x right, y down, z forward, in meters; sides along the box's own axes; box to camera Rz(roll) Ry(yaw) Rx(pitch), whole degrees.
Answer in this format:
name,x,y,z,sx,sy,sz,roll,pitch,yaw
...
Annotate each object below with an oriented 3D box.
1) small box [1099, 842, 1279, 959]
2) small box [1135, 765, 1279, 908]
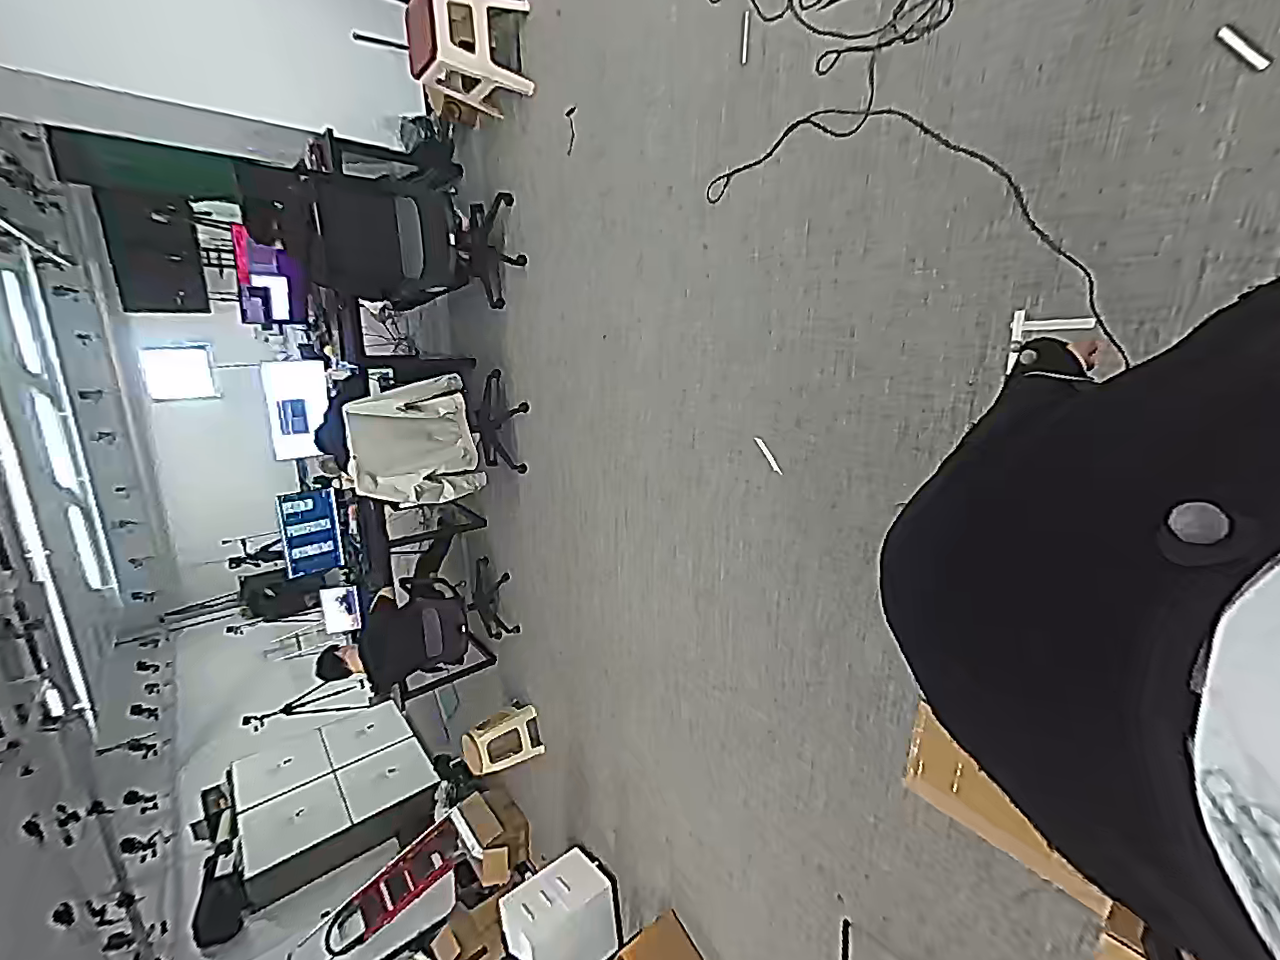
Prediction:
name,x,y,z,sx,sy,sz,roll,pitch,yaw
small box,0.552,0.503,0.516,0.168,0.176,0.179,16,110,49
small box,0.678,0.476,0.617,0.168,0.176,0.179,18,112,49
